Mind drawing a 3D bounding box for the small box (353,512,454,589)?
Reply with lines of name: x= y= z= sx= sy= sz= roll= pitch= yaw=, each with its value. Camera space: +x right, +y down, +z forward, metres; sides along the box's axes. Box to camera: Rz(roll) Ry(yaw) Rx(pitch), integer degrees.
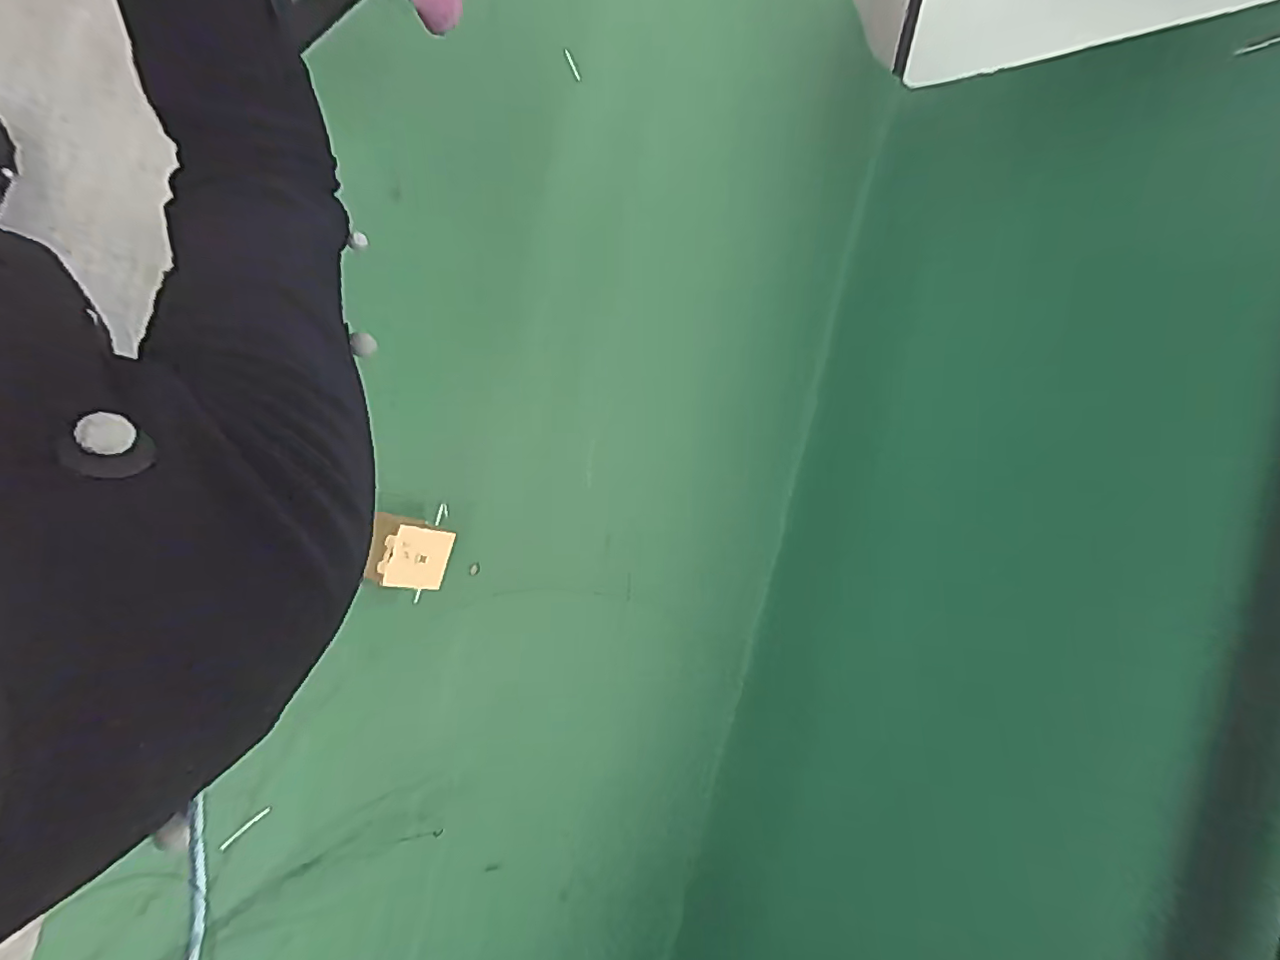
small box: x=-0.661 y=0.195 z=1.512 sx=0.179 sy=0.176 sz=0.168 roll=21 pitch=84 yaw=-51
